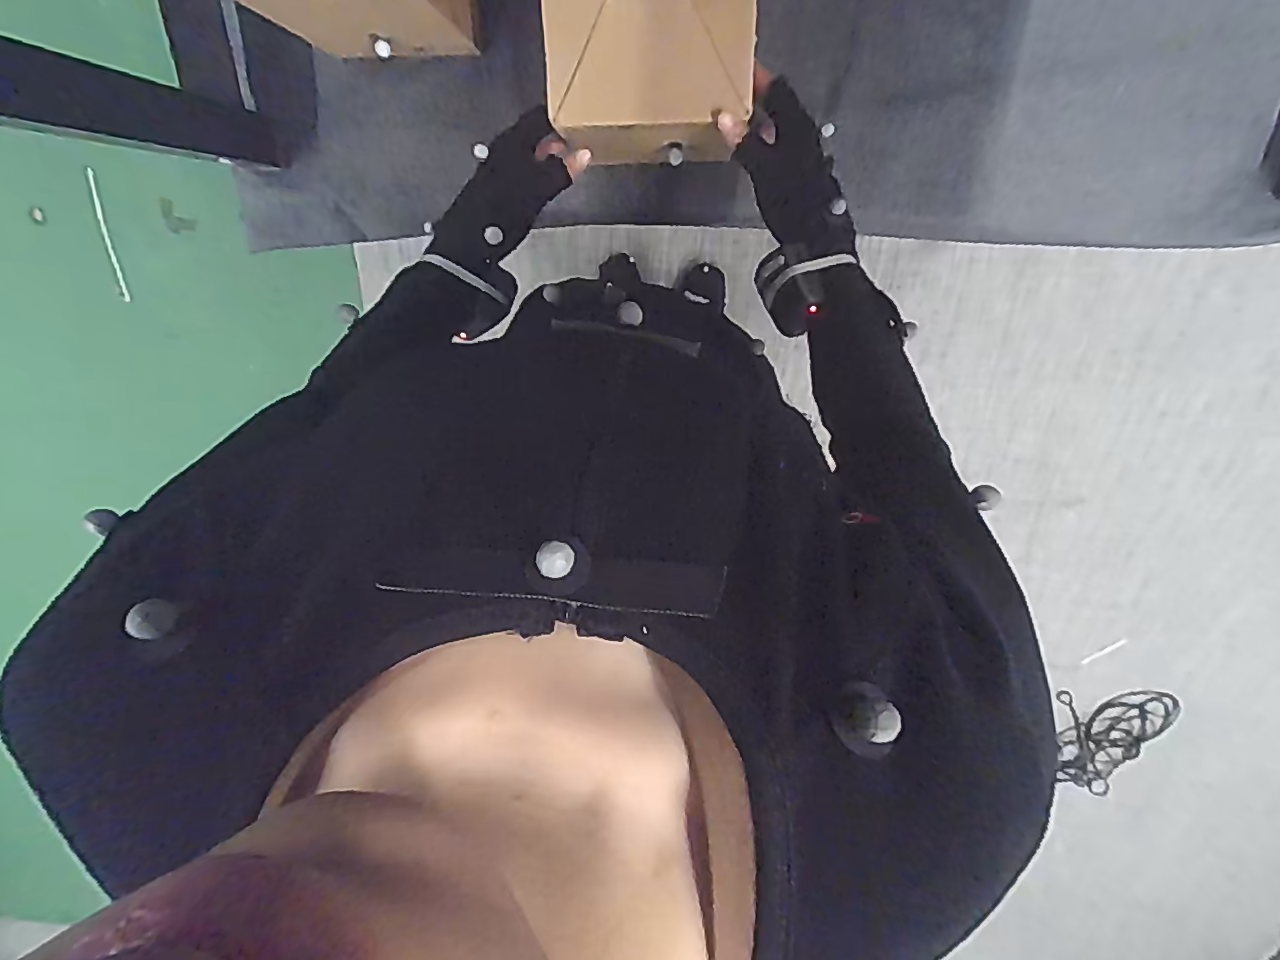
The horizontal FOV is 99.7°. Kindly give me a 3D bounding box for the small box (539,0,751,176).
[{"bbox_3d":[0.006,-0.392,0.490,0.168,0.176,0.179,0,110,3],"label":"small box"}]
